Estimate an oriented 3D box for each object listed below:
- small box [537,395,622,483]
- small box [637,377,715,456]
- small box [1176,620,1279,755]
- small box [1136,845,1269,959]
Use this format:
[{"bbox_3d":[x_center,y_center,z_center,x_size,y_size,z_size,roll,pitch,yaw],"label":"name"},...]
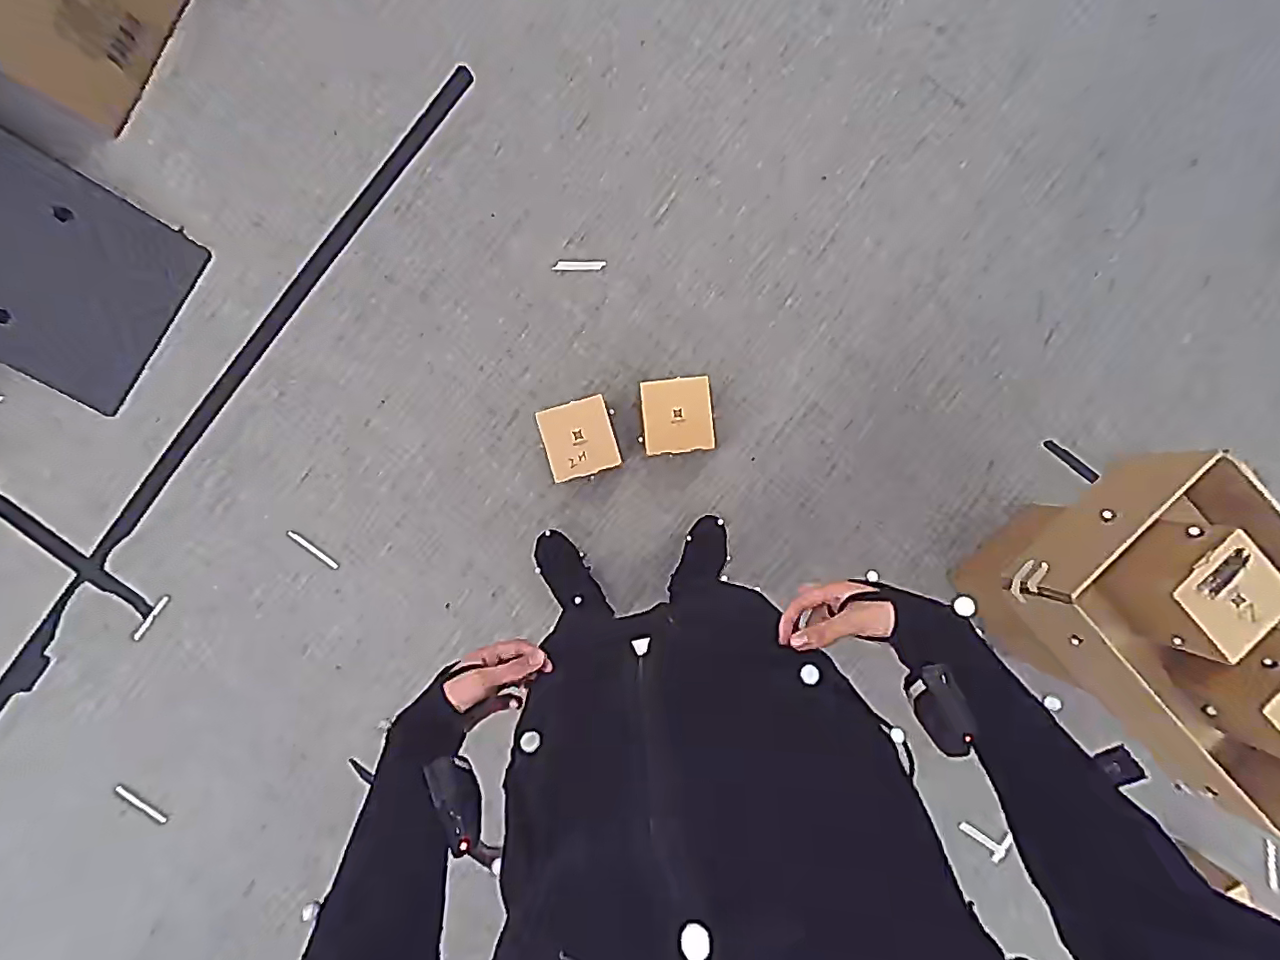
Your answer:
[{"bbox_3d":[-0.146,-0.098,1.350,0.168,0.176,0.179,-16,93,-1],"label":"small box"},{"bbox_3d":[0.085,-0.154,1.361,0.168,0.176,0.179,-7,93,-2],"label":"small box"},{"bbox_3d":[1.171,0.386,0.996,0.179,0.176,0.168,-44,91,-4],"label":"small box"},{"bbox_3d":[1.490,1.136,1.450,0.179,0.176,0.168,-21,92,-2],"label":"small box"}]
